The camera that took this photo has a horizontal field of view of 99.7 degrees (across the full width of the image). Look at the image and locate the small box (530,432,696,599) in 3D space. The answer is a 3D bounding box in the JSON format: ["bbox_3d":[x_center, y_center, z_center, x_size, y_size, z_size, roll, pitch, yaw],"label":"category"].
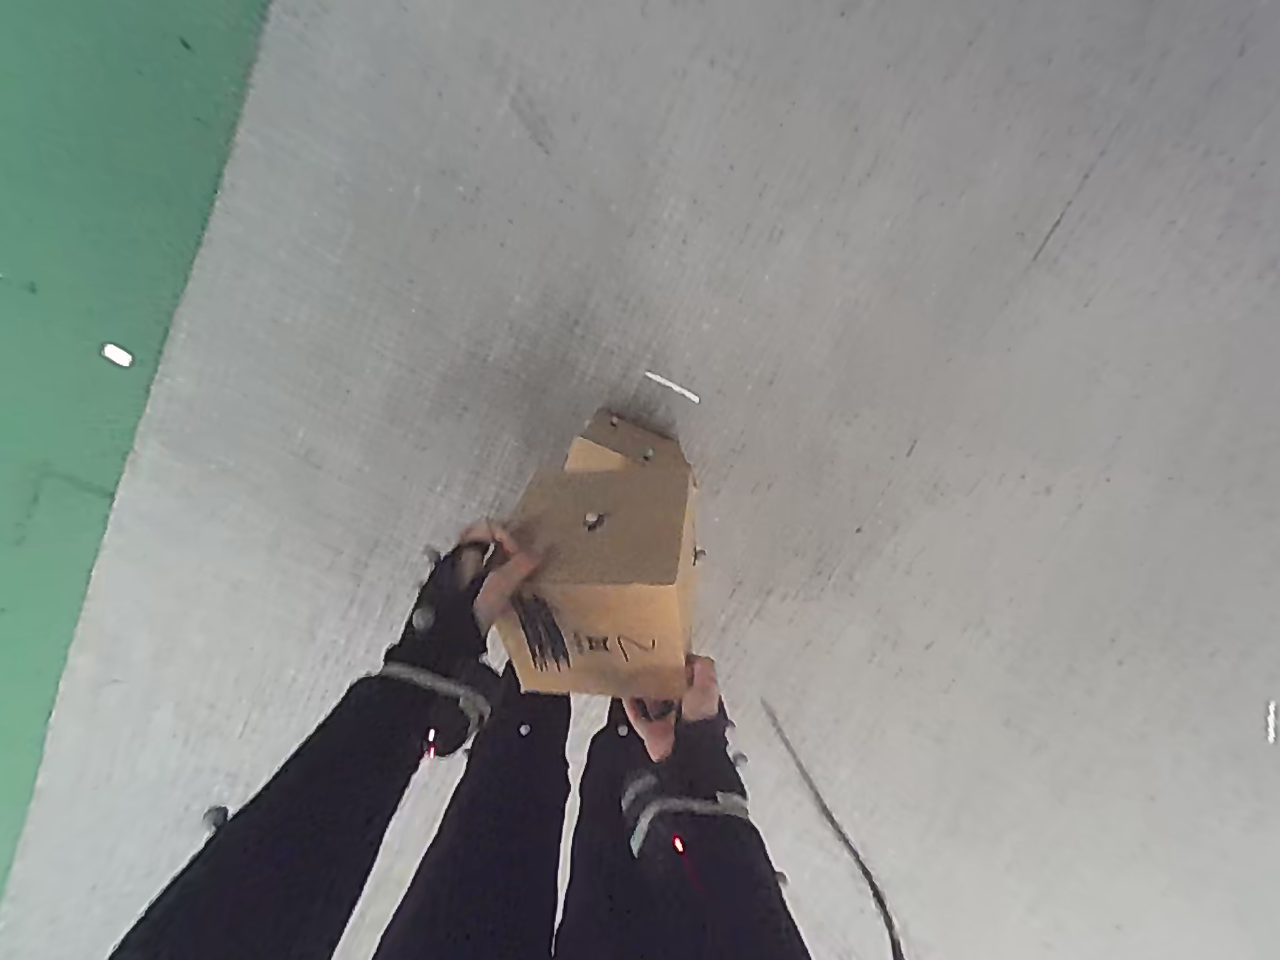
[{"bbox_3d":[-0.034,0.040,0.790,0.179,0.176,0.168,24,102,-3],"label":"small box"}]

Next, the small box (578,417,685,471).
[{"bbox_3d":[-0.034,-0.001,0.950,0.179,0.176,0.168,24,103,-3],"label":"small box"}]
